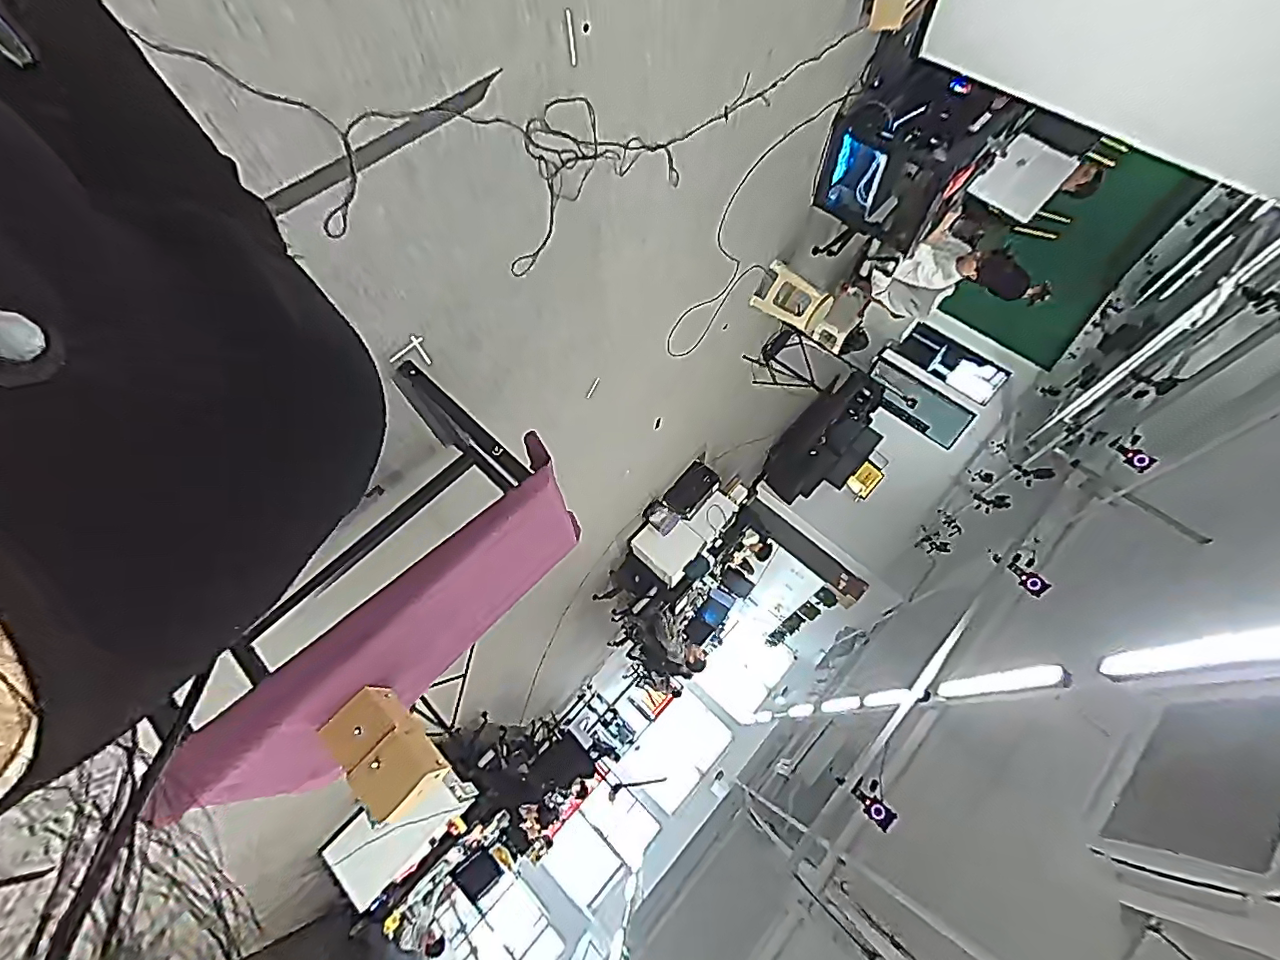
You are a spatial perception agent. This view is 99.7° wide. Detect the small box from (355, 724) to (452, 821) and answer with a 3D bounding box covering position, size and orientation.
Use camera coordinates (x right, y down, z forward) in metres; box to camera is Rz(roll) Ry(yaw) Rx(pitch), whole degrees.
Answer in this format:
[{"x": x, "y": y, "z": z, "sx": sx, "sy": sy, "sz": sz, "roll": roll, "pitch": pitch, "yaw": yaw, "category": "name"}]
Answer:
[{"x": -0.691, "y": 0.841, "z": 1.572, "sx": 0.179, "sy": 0.176, "sz": 0.168, "roll": -46, "pitch": 162, "yaw": -12, "category": "small box"}]
